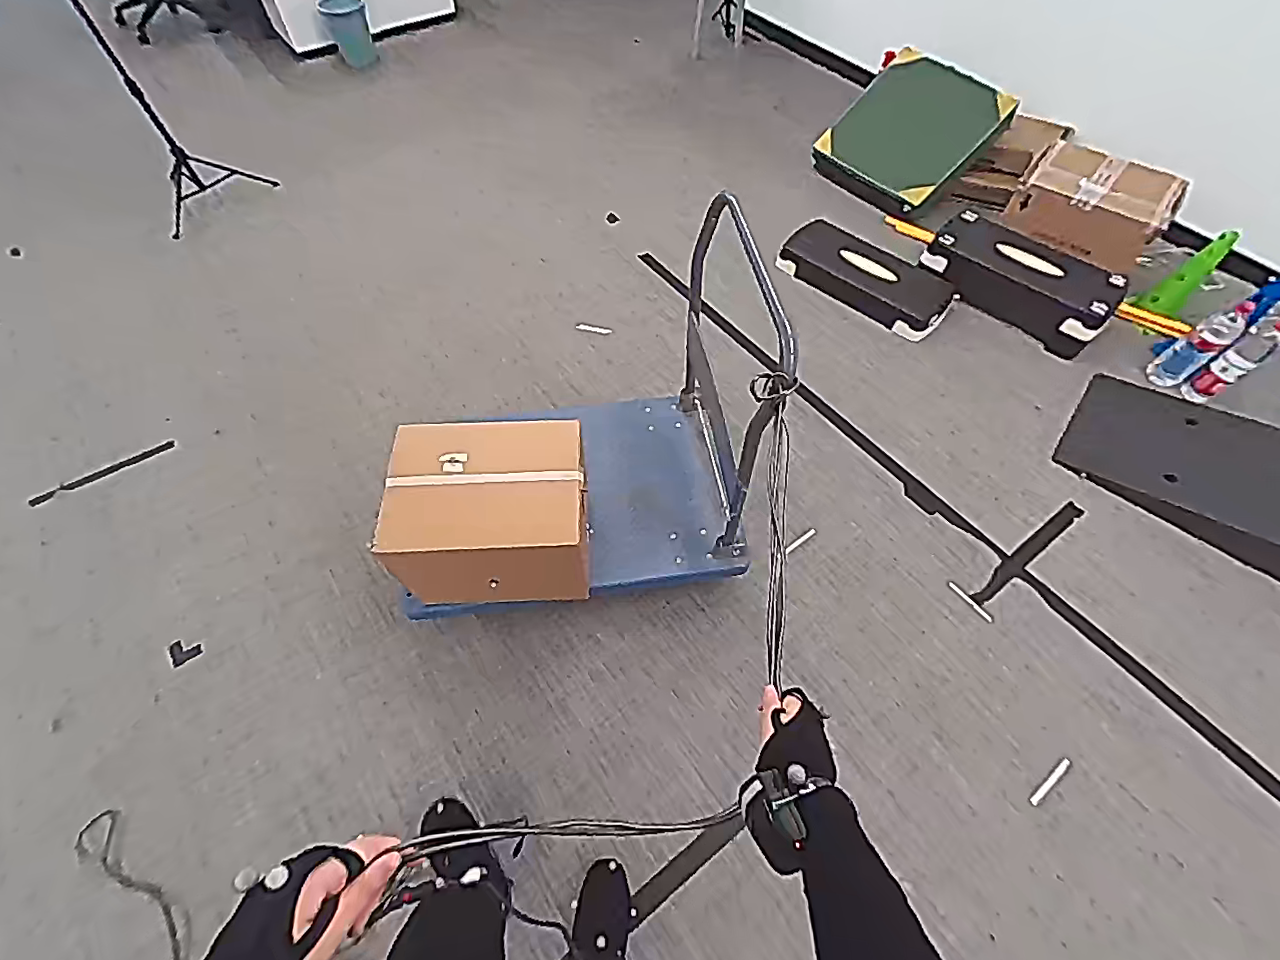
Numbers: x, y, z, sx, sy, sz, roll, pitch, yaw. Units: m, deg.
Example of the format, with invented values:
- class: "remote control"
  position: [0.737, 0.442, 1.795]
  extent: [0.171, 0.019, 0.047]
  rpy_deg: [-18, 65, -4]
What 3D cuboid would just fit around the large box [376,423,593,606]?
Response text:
- class: "large box"
  position: [-0.320, 0.089, 1.251]
  extent: [0.408, 0.320, 0.320]
  rpy_deg: [-2, 57, -2]
